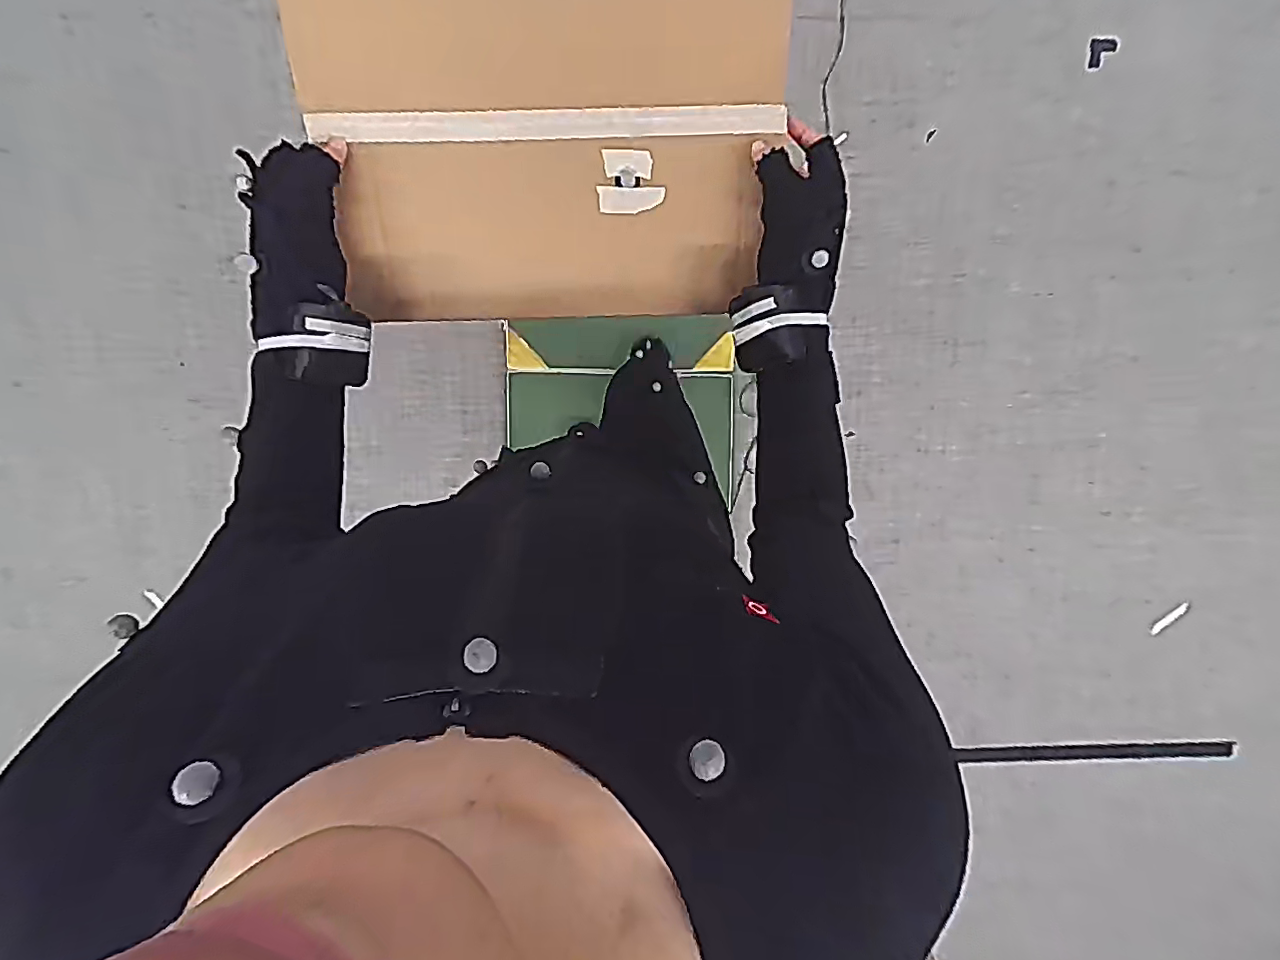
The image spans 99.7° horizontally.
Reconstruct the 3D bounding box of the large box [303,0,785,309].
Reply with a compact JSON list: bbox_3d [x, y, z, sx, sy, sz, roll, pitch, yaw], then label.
[{"bbox_3d":[-0.081,-0.370,0.613,0.408,0.320,0.320,-2,111,-2],"label":"large box"}]
